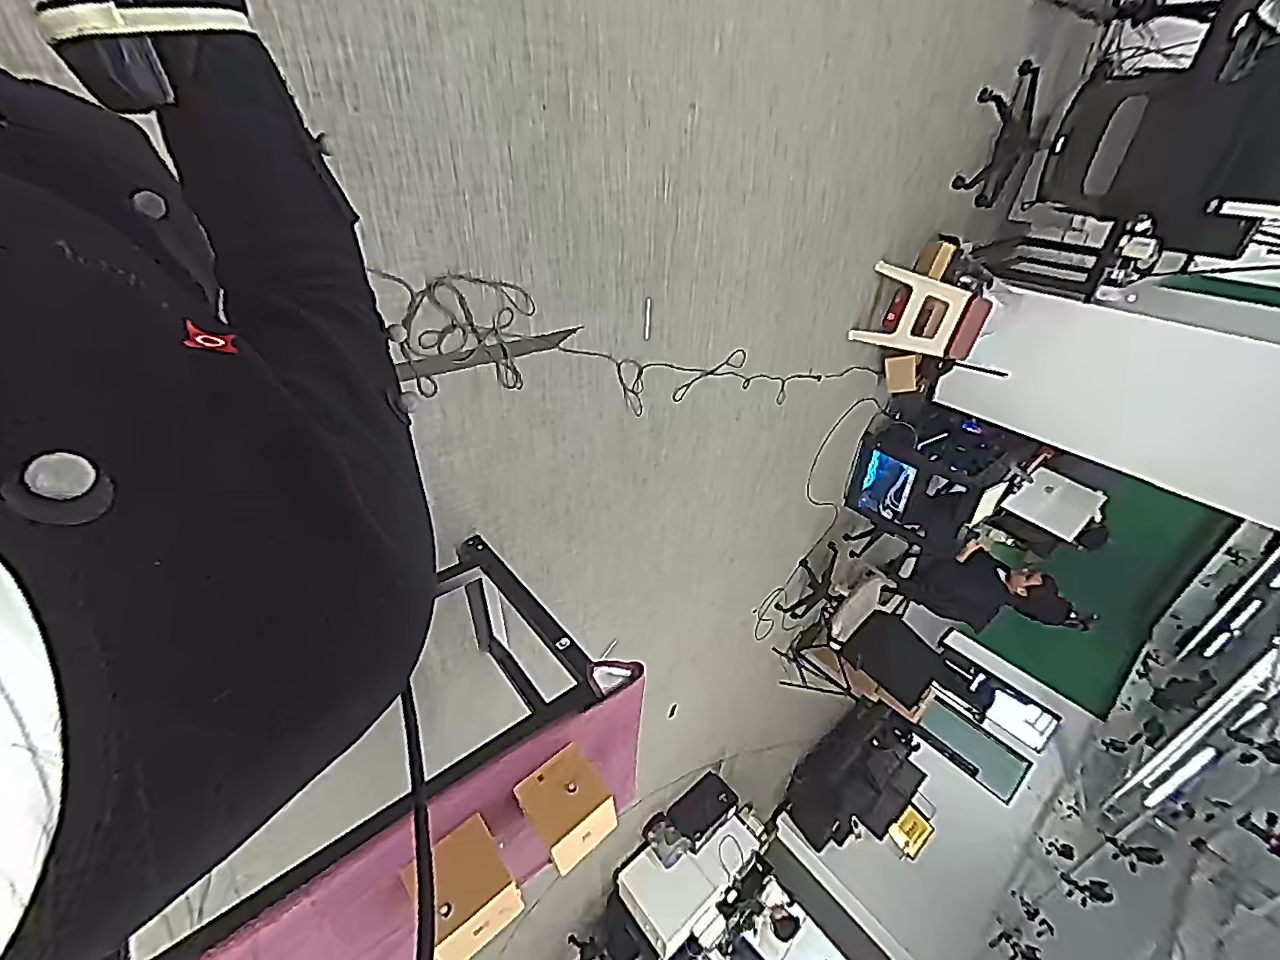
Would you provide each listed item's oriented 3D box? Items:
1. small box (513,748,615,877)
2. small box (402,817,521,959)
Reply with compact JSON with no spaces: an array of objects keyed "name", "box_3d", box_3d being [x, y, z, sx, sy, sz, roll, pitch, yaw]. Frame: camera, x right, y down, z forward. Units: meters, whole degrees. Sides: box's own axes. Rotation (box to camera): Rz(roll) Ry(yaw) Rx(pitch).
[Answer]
[{"name":"small box","box_3d":[-0.179,0.768,1.266,0.168,0.176,0.179,-29,135,-29]},{"name":"small box","box_3d":[-0.374,0.857,1.125,0.179,0.176,0.168,-27,134,-30]}]
